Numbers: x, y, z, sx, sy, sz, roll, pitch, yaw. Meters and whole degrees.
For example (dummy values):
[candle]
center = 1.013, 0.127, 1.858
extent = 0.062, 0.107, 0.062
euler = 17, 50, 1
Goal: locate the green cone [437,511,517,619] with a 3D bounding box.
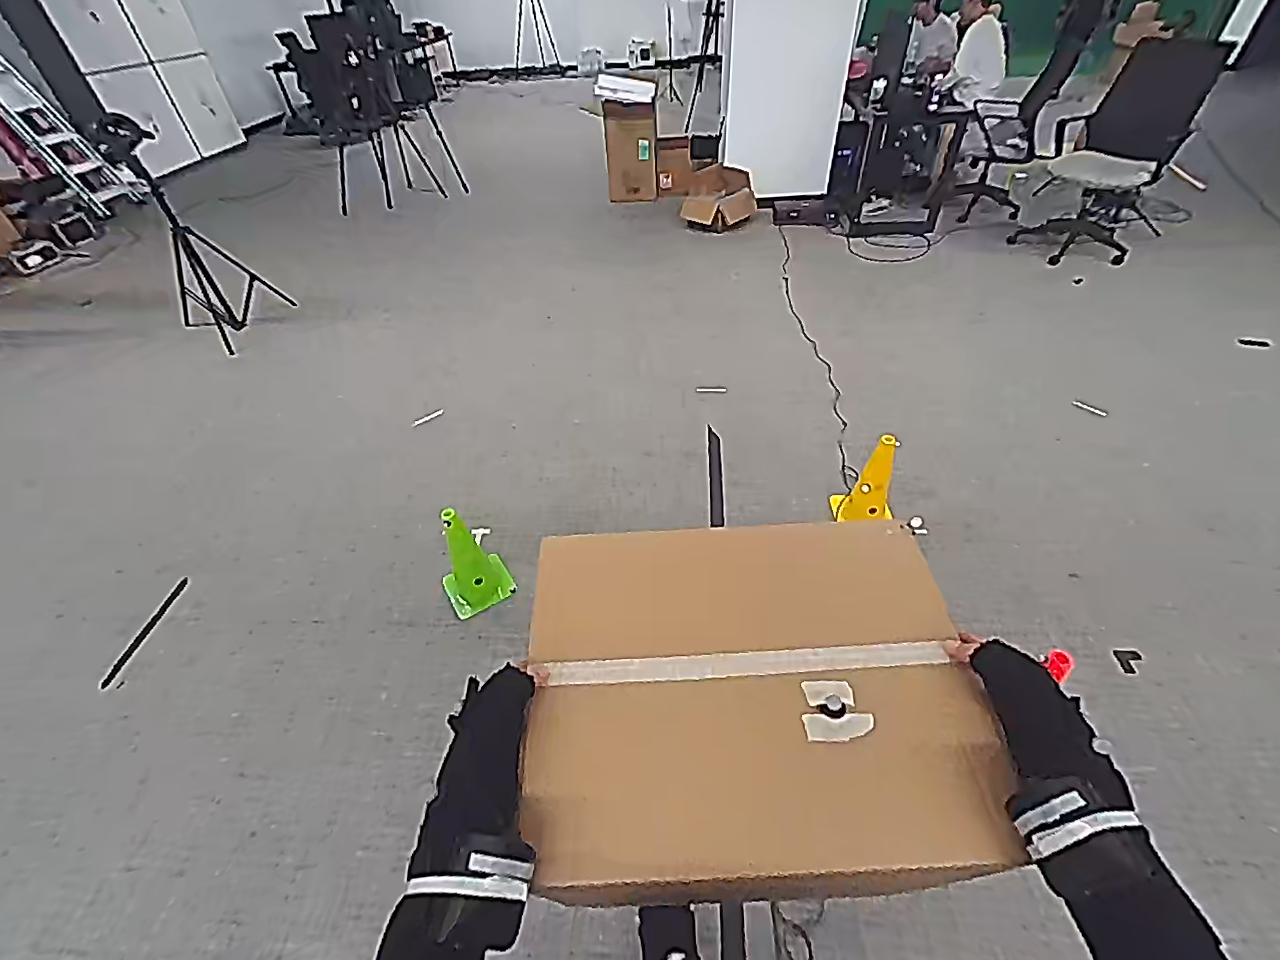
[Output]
[green cone]
center = -0.546, 0.227, 1.680
extent = 0.202, 0.368, 0.200
euler = -28, 48, -21

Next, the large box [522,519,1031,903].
[large box]
center = 0.102, 0.268, 0.621
extent = 0.408, 0.320, 0.320
euler = -3, 49, 0
